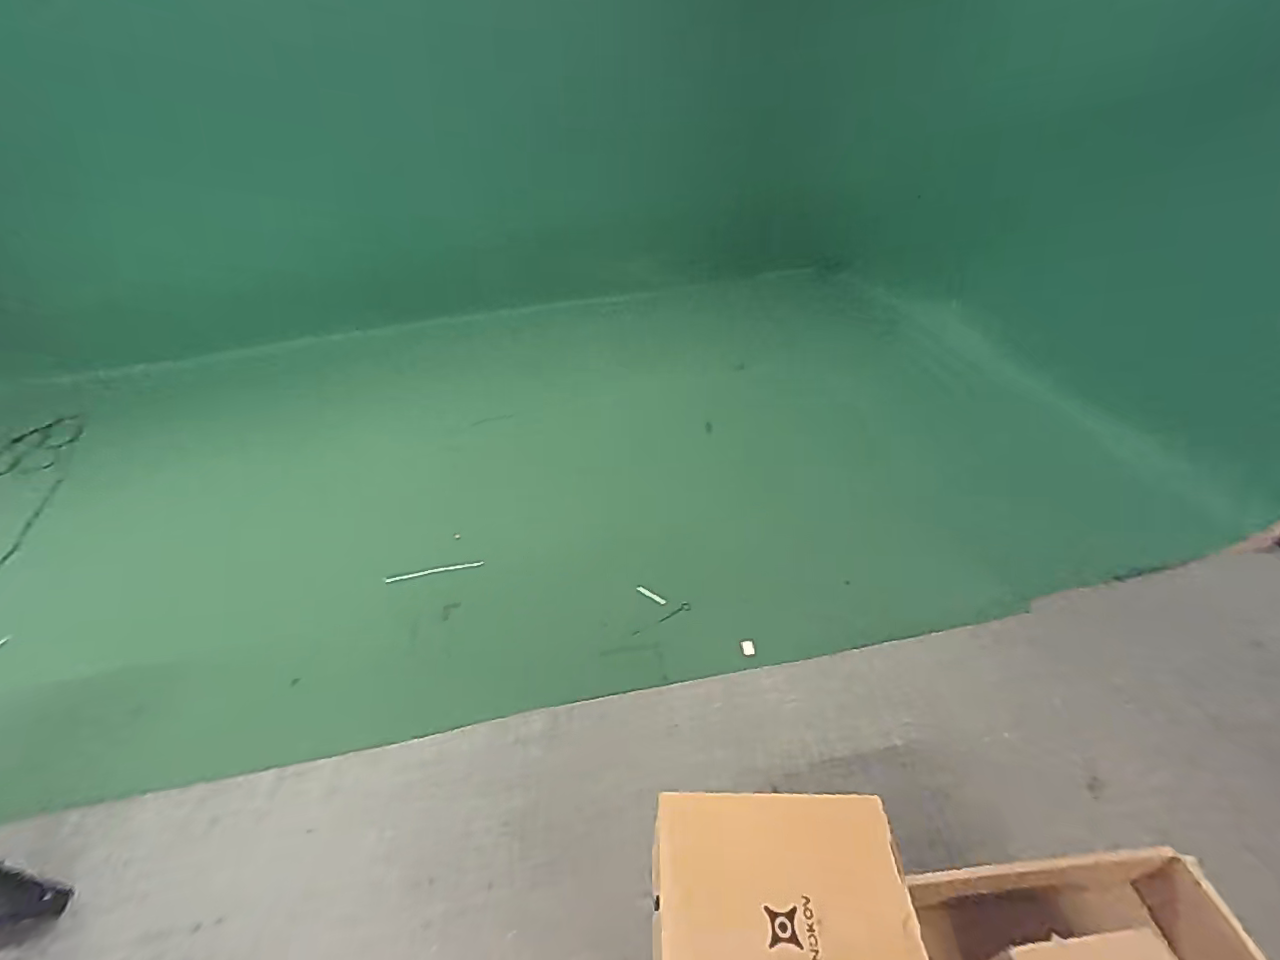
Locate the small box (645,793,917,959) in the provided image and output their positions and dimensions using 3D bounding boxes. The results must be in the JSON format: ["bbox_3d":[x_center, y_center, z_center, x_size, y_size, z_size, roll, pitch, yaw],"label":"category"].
[{"bbox_3d":[0.093,0.361,0.419,0.179,0.176,0.168,2,43,-2],"label":"small box"}]
